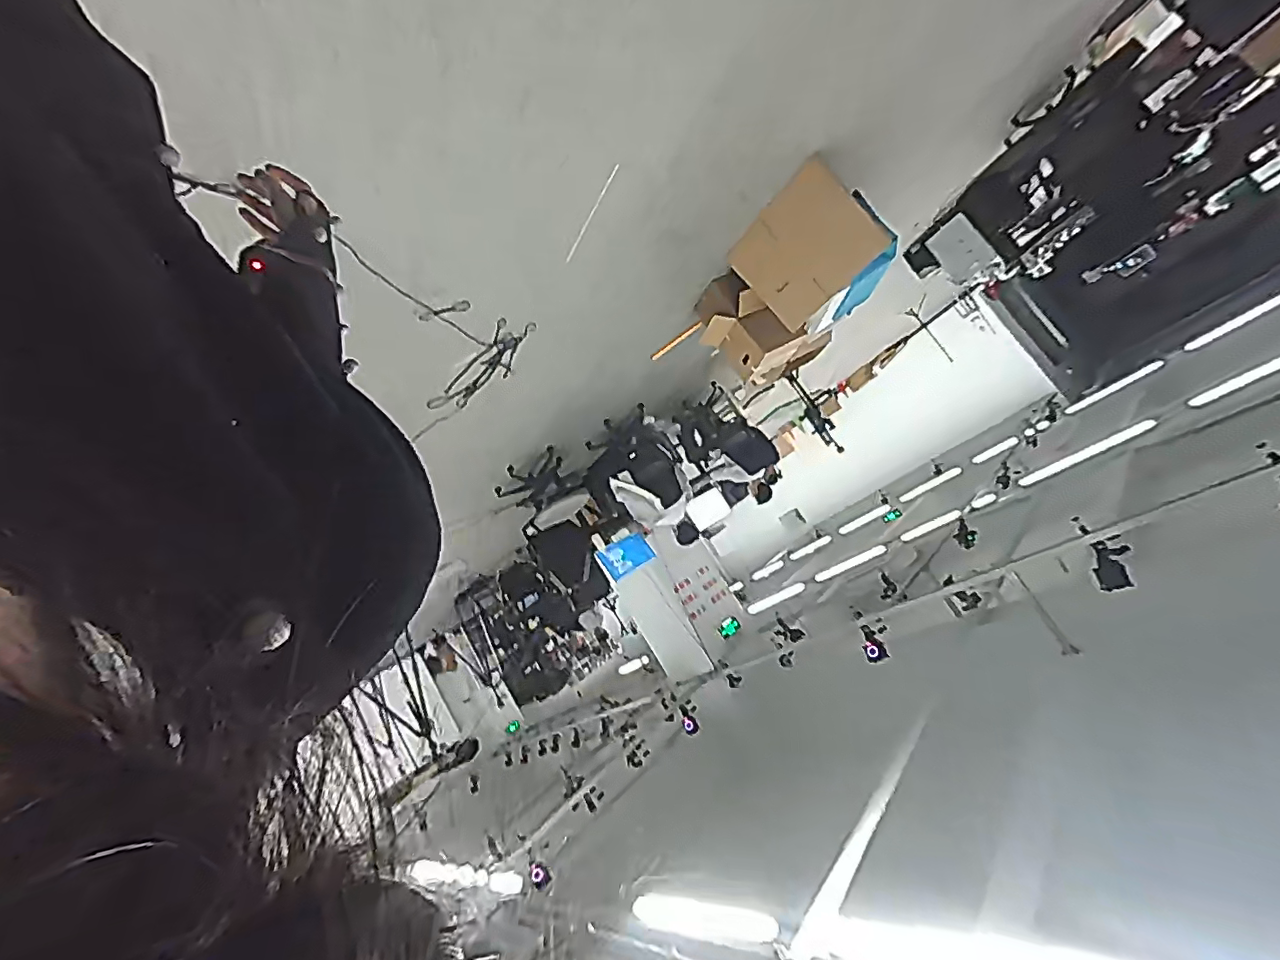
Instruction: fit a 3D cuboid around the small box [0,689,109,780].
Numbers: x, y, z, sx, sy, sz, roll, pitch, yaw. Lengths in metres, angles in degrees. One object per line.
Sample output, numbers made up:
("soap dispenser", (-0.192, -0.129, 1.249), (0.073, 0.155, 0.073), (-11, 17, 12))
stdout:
("small box", (-1.660, 0.717, 1.531), (0.168, 0.176, 0.179), (-26, 168, -41))
